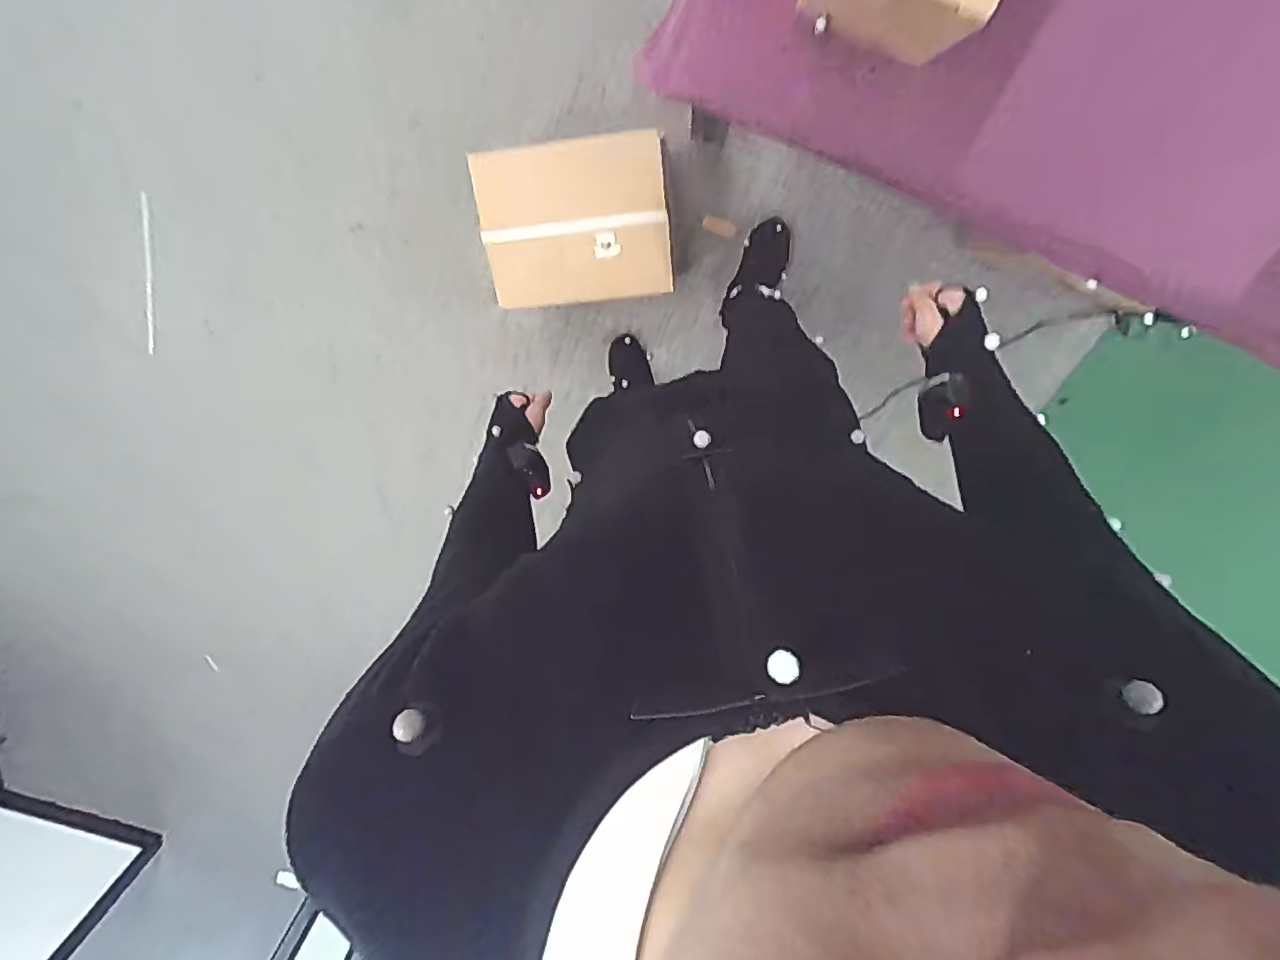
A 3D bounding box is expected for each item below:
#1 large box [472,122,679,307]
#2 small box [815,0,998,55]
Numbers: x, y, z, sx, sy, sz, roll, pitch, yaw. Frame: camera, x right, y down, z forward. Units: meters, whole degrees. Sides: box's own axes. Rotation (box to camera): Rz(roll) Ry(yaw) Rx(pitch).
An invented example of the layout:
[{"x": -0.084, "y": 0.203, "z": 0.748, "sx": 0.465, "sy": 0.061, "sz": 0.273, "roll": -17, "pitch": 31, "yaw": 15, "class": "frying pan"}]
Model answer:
[{"x": -0.122, "y": -0.609, "z": 1.276, "sx": 0.408, "sy": 0.320, "sz": 0.320, "roll": -4, "pitch": 116, "yaw": 6, "class": "large box"}, {"x": 0.282, "y": -0.560, "z": 0.525, "sx": 0.168, "sy": 0.176, "sz": 0.179, "roll": 19, "pitch": 114, "yaw": -5, "class": "small box"}]
